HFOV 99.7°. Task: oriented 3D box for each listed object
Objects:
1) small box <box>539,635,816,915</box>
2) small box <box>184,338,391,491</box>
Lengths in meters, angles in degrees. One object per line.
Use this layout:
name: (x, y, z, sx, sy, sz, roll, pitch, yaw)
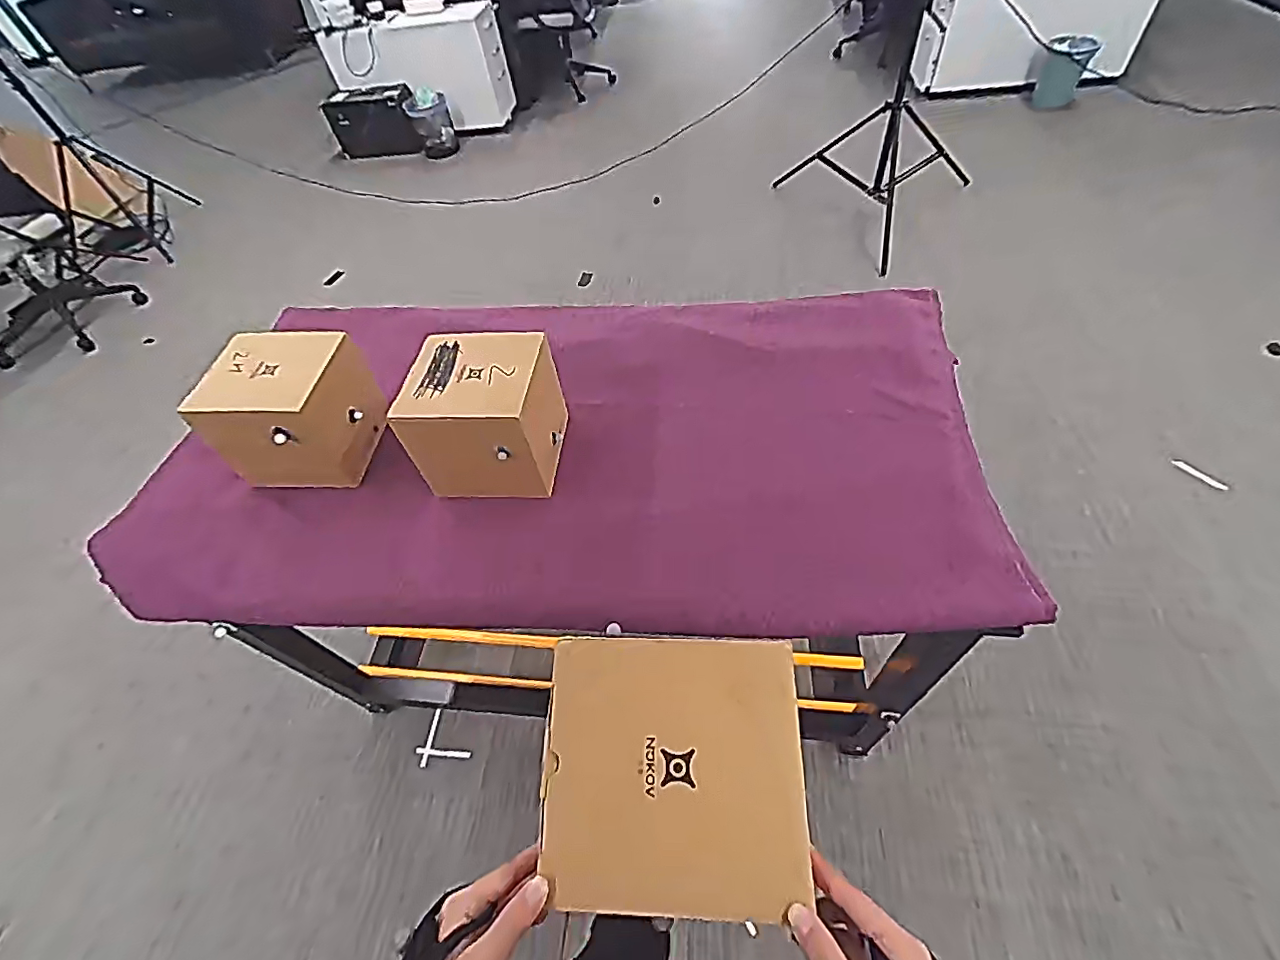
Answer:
small box: (0.032, 0.222, 0.441, 0.179, 0.176, 0.168, -2, 66, 7)
small box: (-0.512, -0.095, 0.822, 0.179, 0.176, 0.168, 0, 52, 5)
